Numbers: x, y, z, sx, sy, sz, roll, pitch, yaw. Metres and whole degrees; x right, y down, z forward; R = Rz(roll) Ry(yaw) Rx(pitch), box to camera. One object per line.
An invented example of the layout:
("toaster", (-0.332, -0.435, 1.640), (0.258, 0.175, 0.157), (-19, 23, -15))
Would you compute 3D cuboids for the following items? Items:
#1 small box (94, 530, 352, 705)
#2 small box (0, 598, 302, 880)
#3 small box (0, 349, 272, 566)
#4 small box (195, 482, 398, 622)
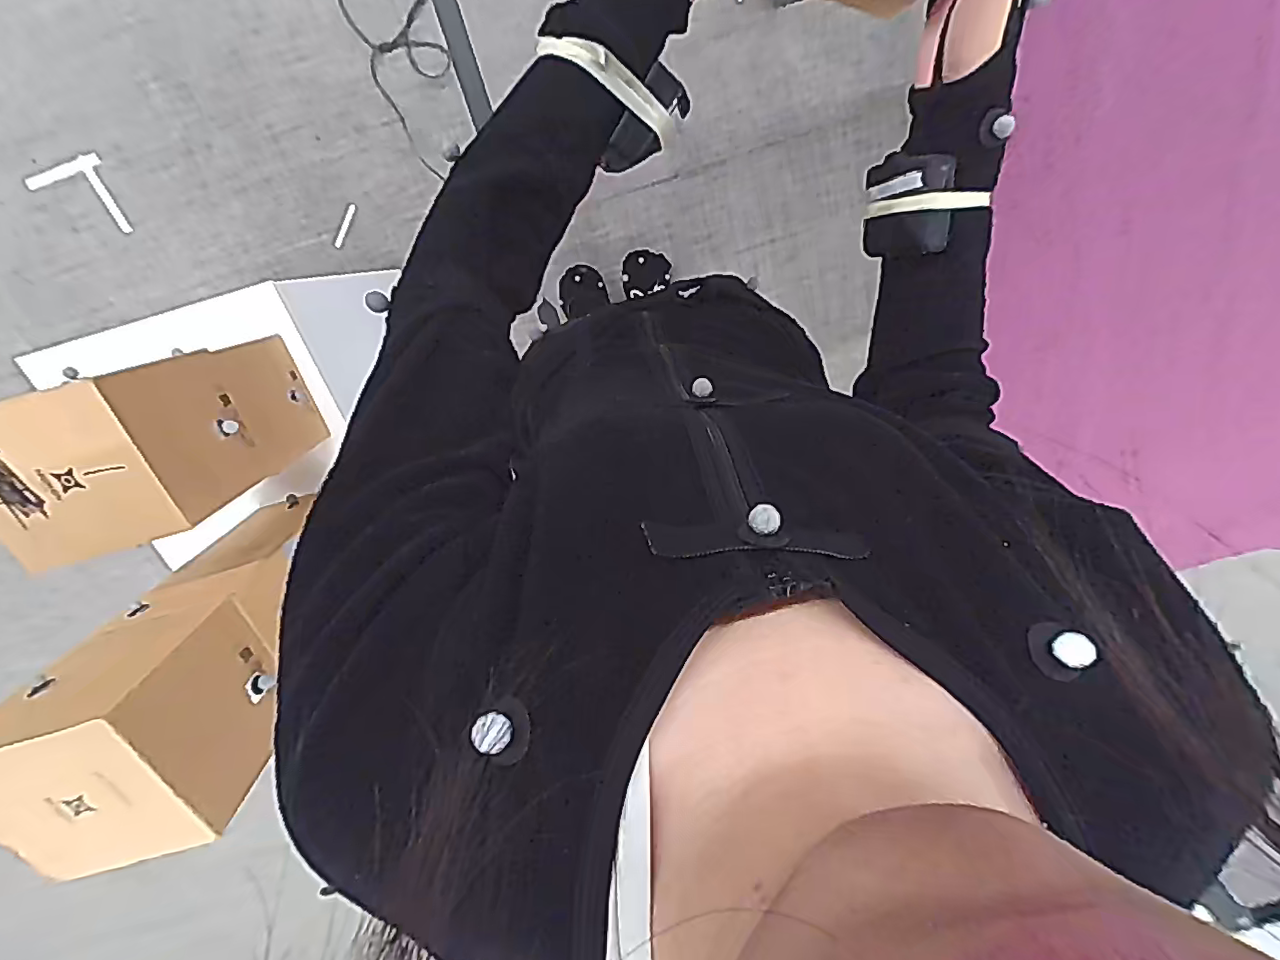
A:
("small box", (-0.504, 0.186, 0.695), (0.179, 0.176, 0.168), (-17, 113, 3))
("small box", (-0.495, 0.249, 0.545), (0.179, 0.176, 0.168), (-17, 114, 3))
("small box", (-0.562, -0.034, 0.594), (0.179, 0.176, 0.168), (-14, 114, 1))
("small box", (-0.517, 0.123, 0.845), (0.179, 0.176, 0.168), (-15, 113, 3))
